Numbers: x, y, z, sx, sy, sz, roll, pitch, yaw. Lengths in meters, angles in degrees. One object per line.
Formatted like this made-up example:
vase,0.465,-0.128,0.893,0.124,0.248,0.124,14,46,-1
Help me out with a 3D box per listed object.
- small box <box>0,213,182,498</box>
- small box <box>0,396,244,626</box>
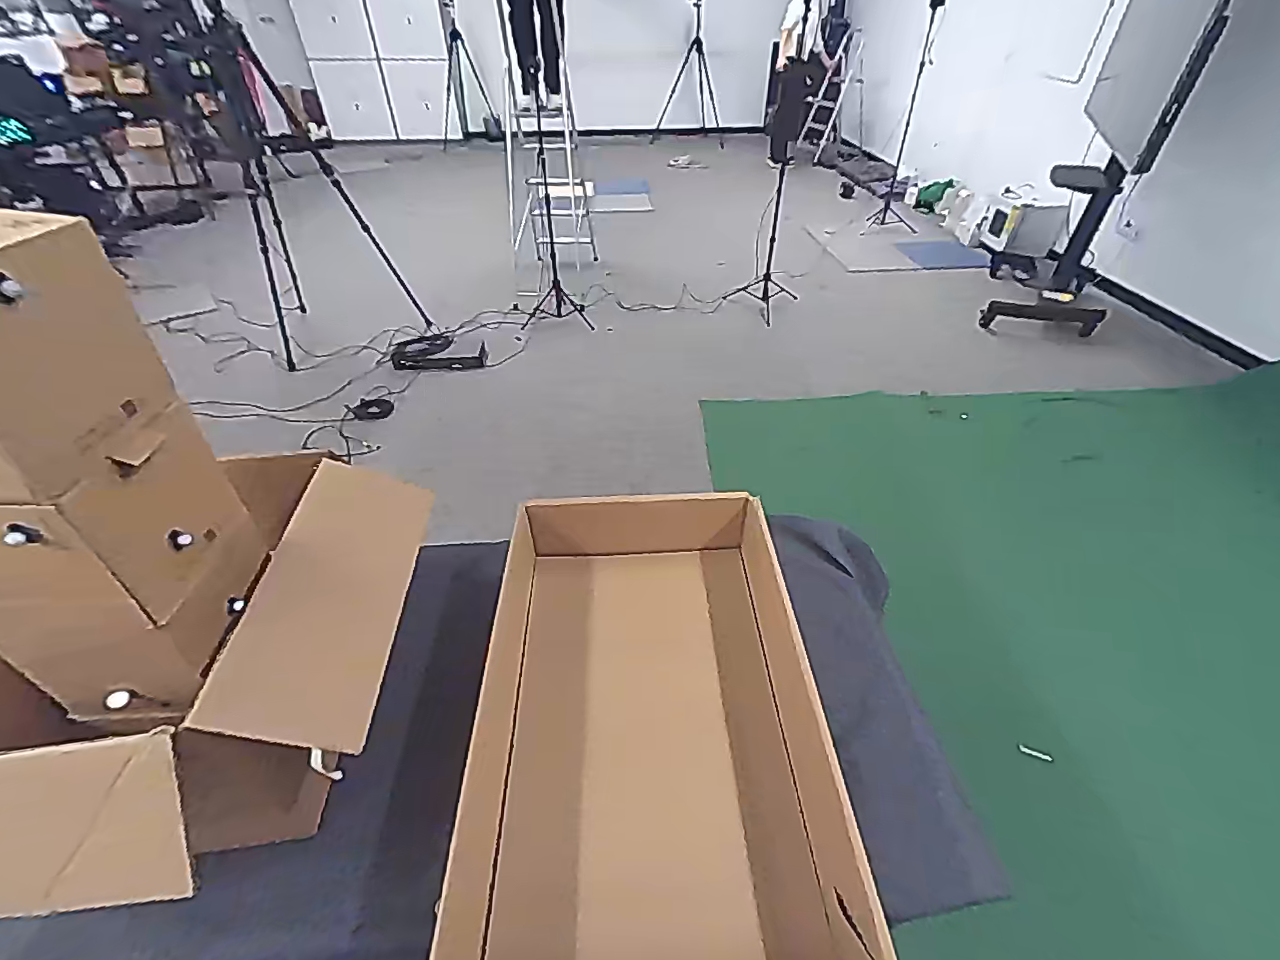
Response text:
small box,-0.531,-0.100,0.425,0.179,0.176,0.168,2,40,-4
small box,-0.544,0.028,0.528,0.179,0.176,0.168,1,40,-6
